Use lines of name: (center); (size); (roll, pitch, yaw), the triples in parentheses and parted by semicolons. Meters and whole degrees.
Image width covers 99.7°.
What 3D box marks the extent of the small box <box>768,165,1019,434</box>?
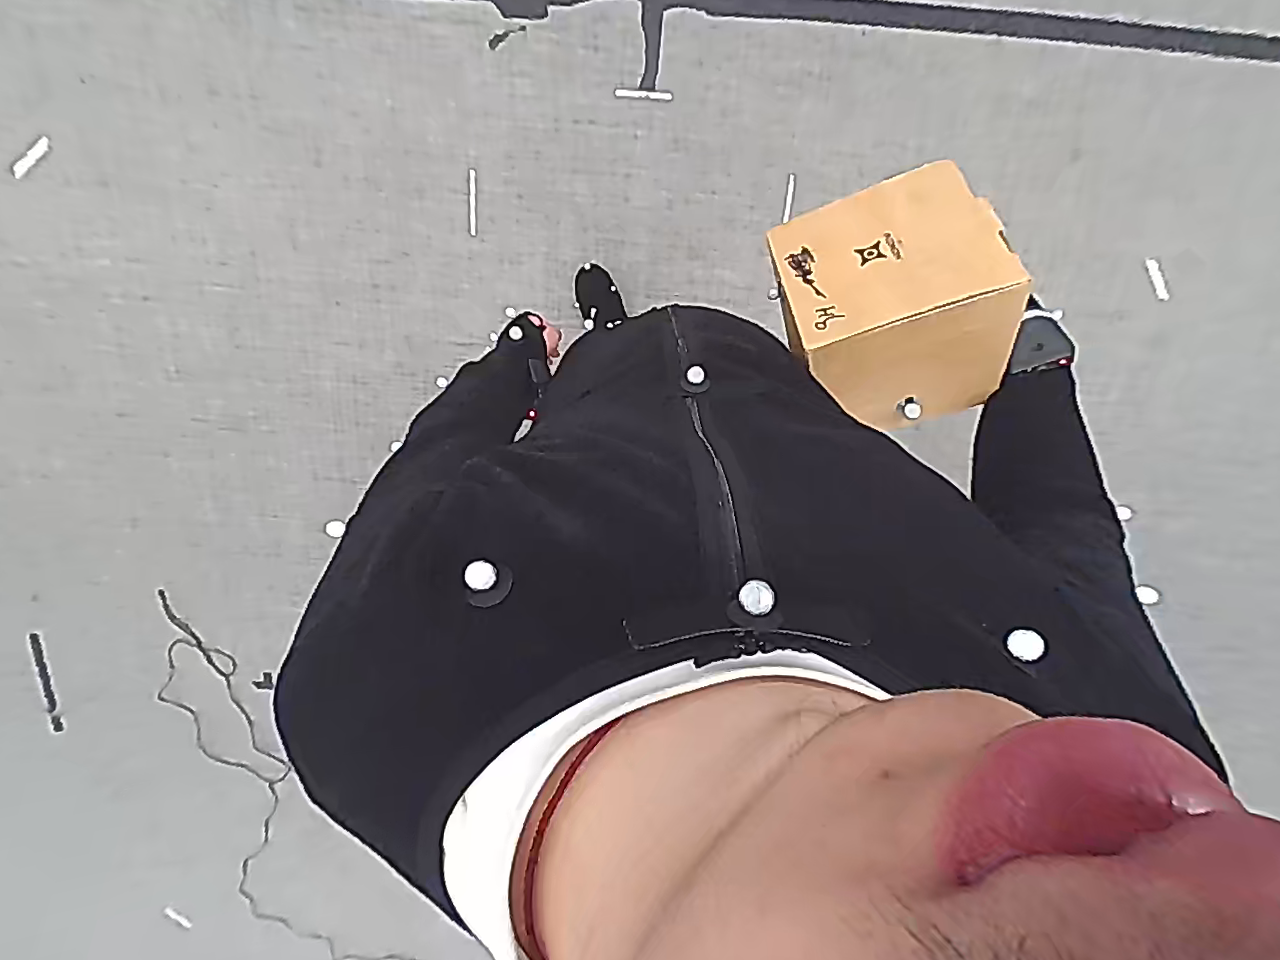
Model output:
small box: (0.245, -0.173, 0.561); (0.179, 0.168, 0.176); (-16, 148, 15)
